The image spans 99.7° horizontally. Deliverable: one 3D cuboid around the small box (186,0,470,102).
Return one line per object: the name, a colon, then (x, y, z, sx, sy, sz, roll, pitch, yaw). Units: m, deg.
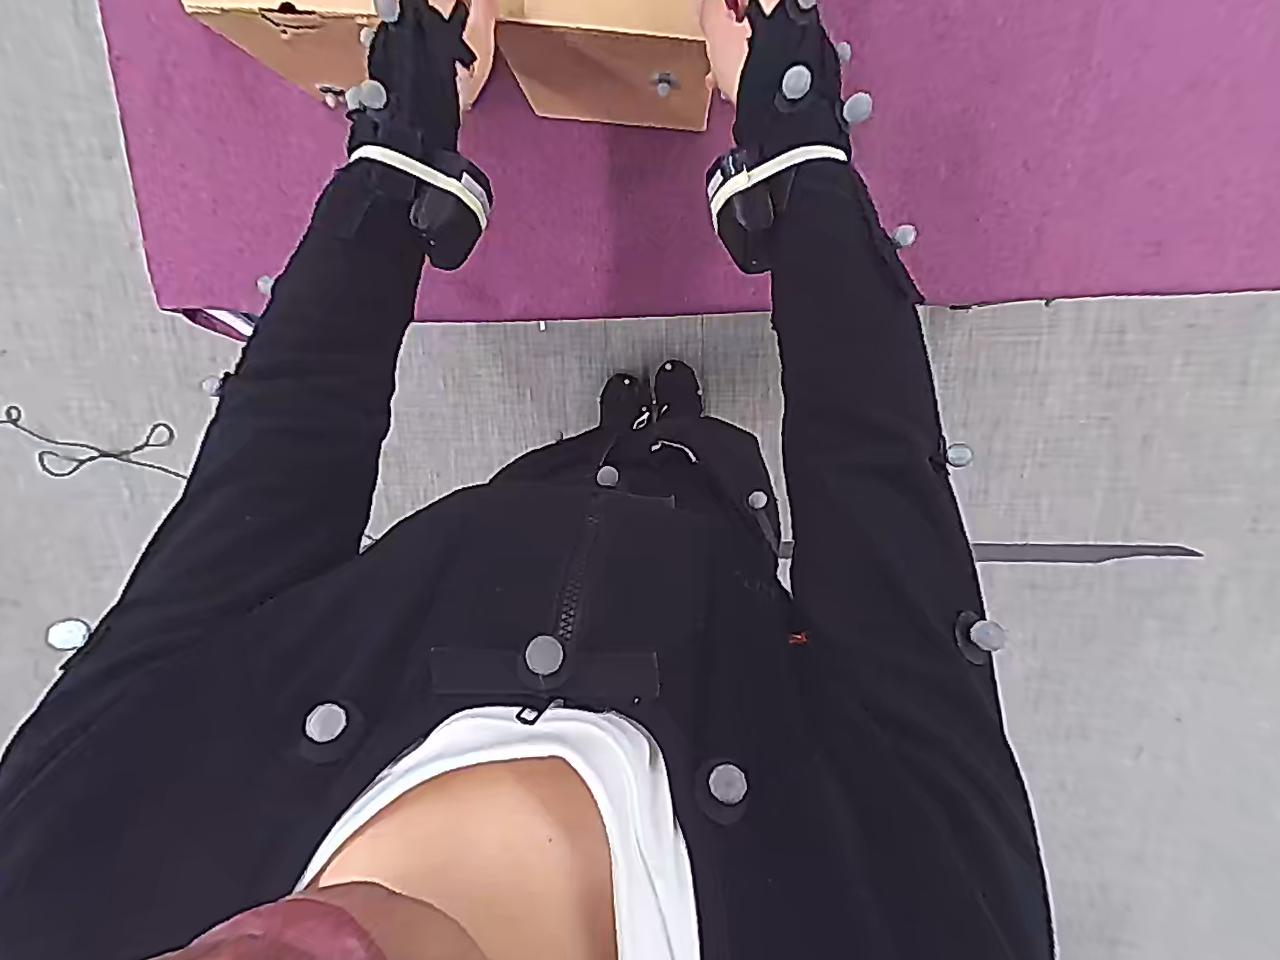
small box: (-0.252, -0.454, 0.460, 0.168, 0.176, 0.179, 5, 104, 2)
